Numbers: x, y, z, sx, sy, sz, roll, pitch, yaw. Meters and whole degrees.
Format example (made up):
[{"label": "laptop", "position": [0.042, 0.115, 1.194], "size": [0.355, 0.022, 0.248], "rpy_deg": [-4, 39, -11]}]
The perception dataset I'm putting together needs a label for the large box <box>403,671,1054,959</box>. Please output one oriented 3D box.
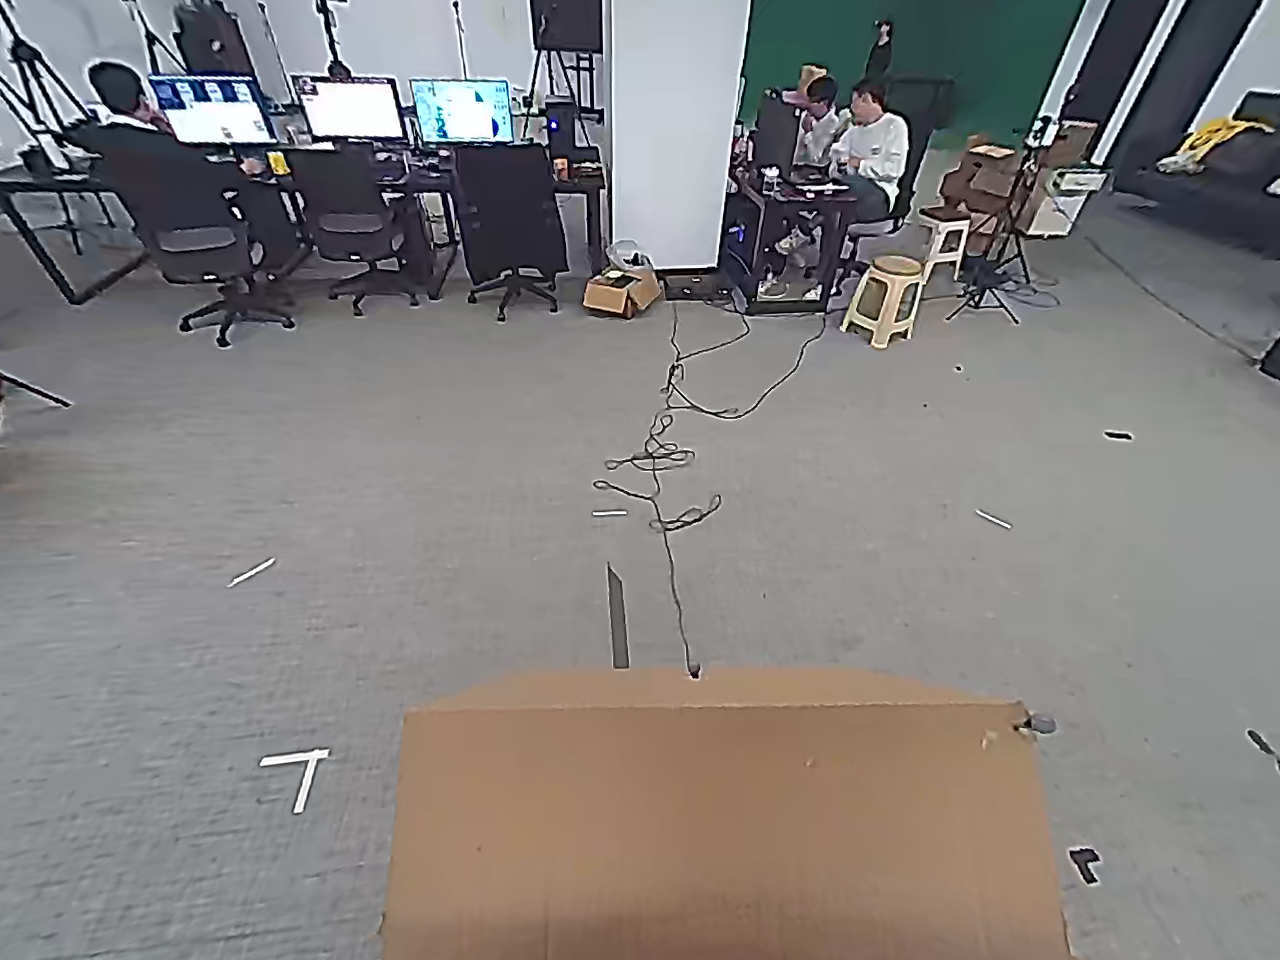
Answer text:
[{"label": "large box", "position": [0.054, 0.345, 0.470], "size": [0.408, 0.320, 0.320], "rpy_deg": [-2, 76, 2]}]
